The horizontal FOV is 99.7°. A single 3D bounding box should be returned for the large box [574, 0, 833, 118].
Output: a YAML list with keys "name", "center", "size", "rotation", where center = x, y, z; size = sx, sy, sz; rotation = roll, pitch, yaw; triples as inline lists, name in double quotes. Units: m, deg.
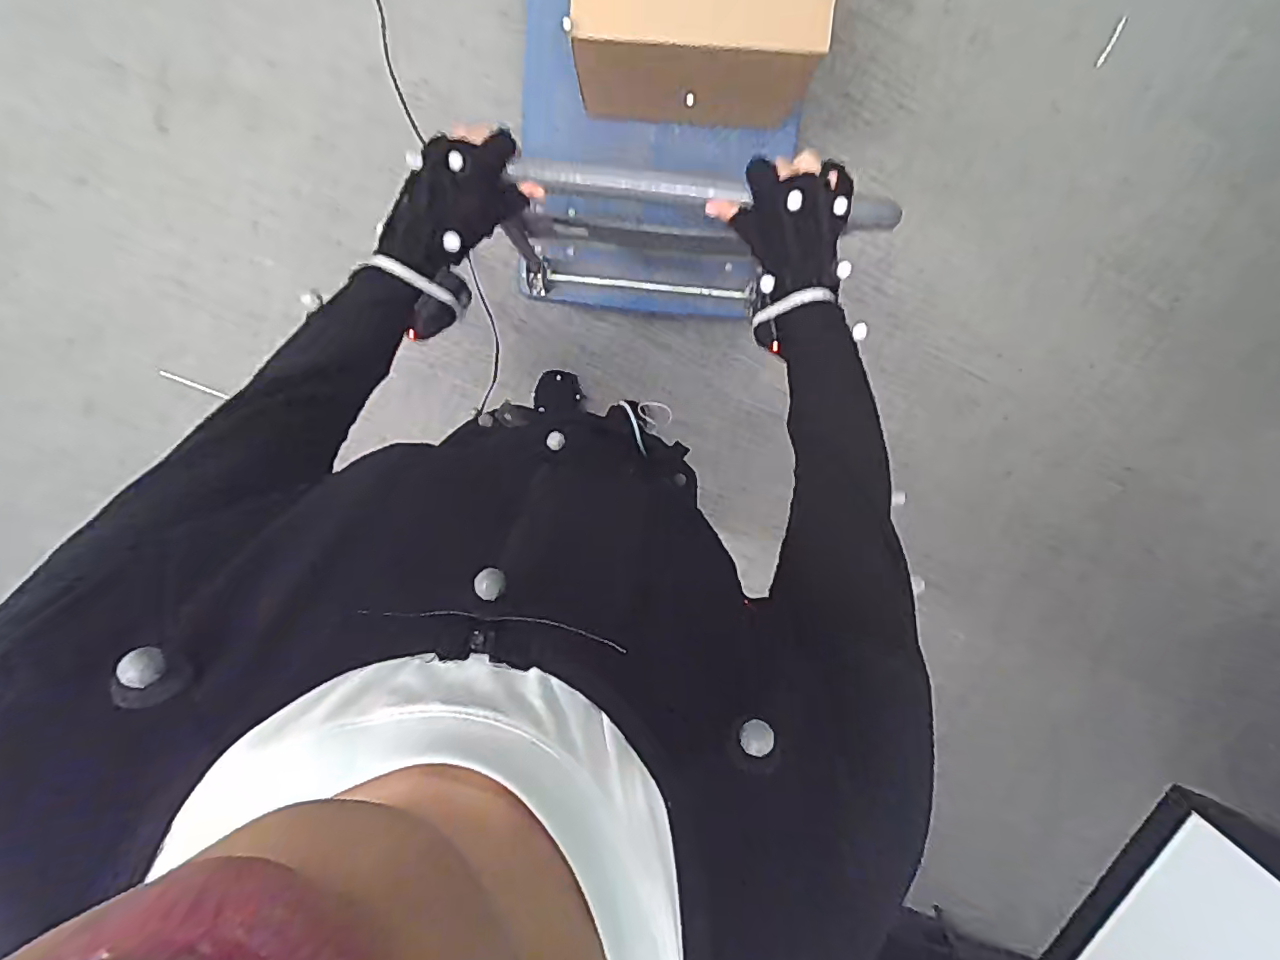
- name: "large box"
  center: [0.103, -0.868, 0.948]
  size: [0.408, 0.320, 0.320]
  rotation: [2, 104, -1]
